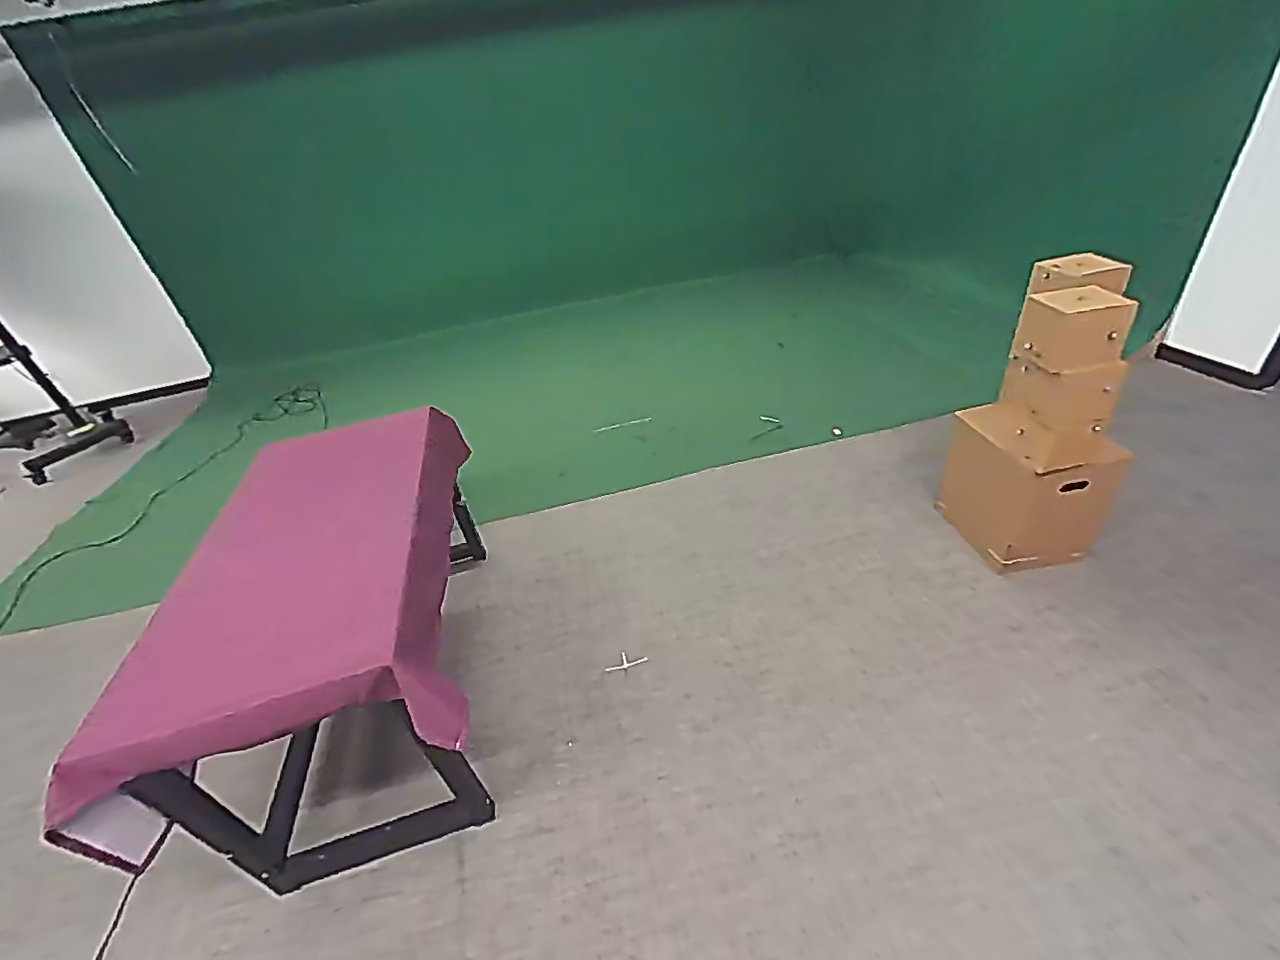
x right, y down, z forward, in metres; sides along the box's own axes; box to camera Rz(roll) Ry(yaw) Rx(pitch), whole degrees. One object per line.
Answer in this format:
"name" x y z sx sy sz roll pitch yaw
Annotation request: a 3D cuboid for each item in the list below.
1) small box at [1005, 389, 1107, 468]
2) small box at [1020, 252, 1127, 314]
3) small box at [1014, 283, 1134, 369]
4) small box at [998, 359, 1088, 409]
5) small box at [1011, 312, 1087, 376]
"small box" 1.255 -0.155 1.651 0.179 0.176 0.168 -12 35 -2
"small box" 1.323 -0.586 1.665 0.179 0.176 0.168 -10 34 0
"small box" 1.168 -0.418 1.474 0.179 0.176 0.168 -9 34 4
"small box" 1.364 -0.314 1.846 0.168 0.176 0.179 -8 36 4
"small box" 1.341 -0.449 1.756 0.179 0.176 0.168 -6 35 5
